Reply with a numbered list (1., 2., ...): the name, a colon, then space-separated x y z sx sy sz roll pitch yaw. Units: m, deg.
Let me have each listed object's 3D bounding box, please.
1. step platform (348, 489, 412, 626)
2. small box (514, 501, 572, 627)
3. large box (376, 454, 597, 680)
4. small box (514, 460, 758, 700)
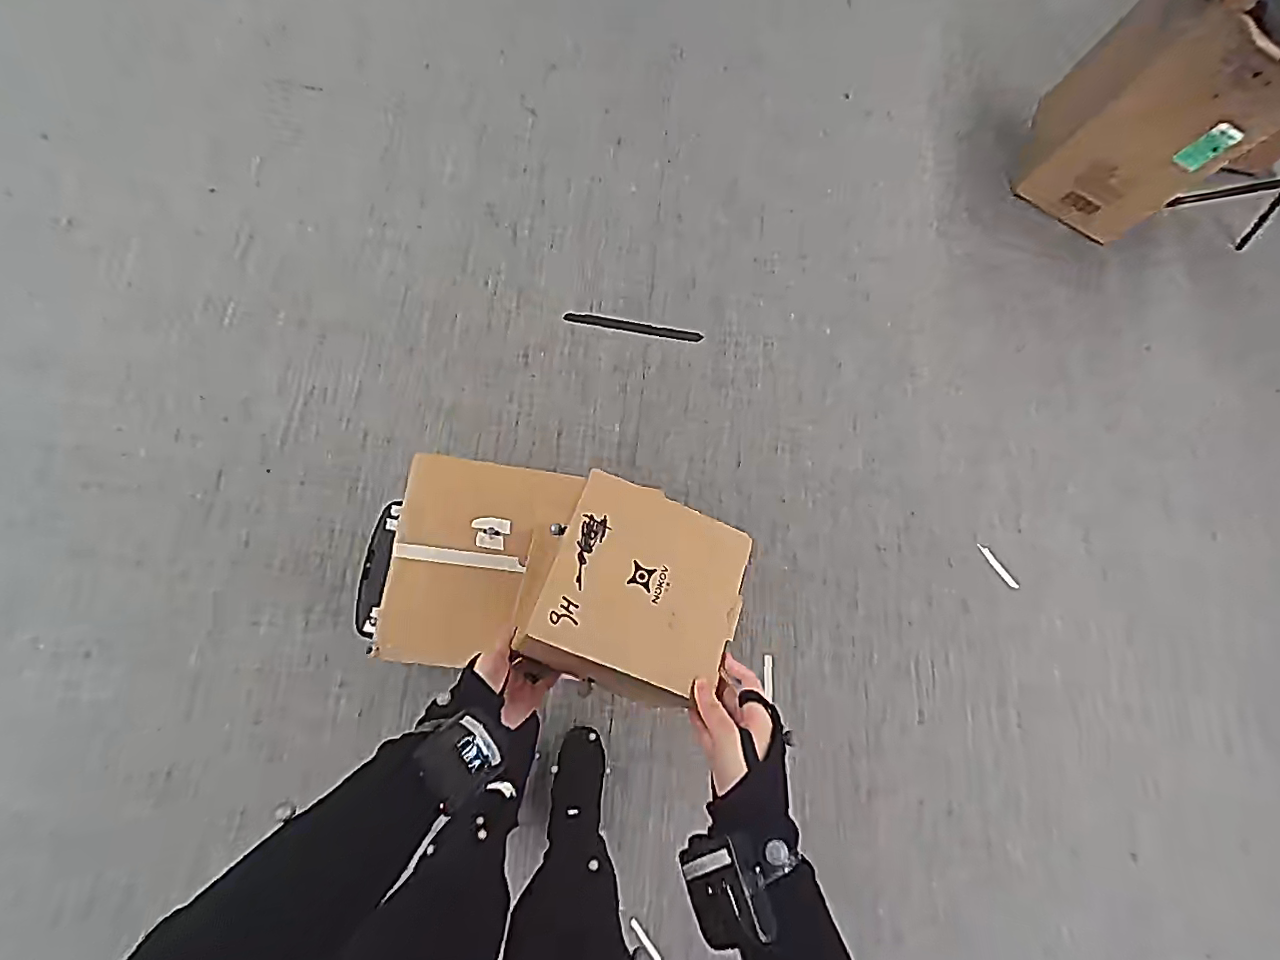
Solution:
1. step platform: -0.249 0.236 1.189 0.684 0.204 0.286 14 74 -6
2. small box: -0.062 0.140 0.741 0.179 0.176 0.168 15 74 -6
3. large box: -0.187 0.166 0.968 0.408 0.320 0.320 9 74 -7
4. small box: -0.011 0.111 0.551 0.179 0.176 0.168 25 62 -8
